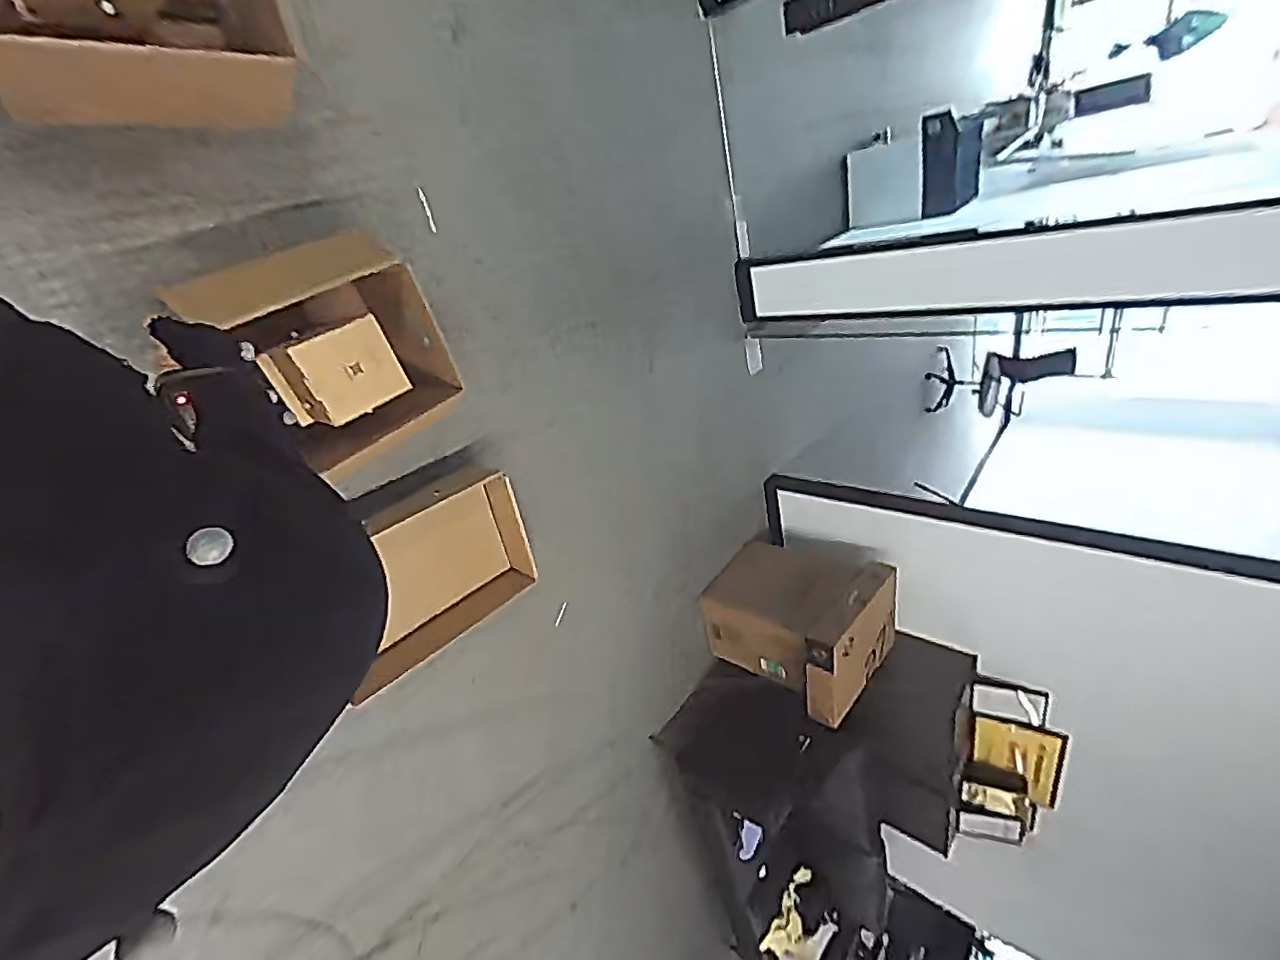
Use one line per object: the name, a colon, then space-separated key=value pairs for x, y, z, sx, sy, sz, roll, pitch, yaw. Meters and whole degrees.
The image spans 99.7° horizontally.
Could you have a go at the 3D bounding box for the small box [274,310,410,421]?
small box: x=-0.623 y=-0.241 z=1.123 sx=0.179 sy=0.176 sz=0.168 roll=-40 pitch=128 yaw=-33
